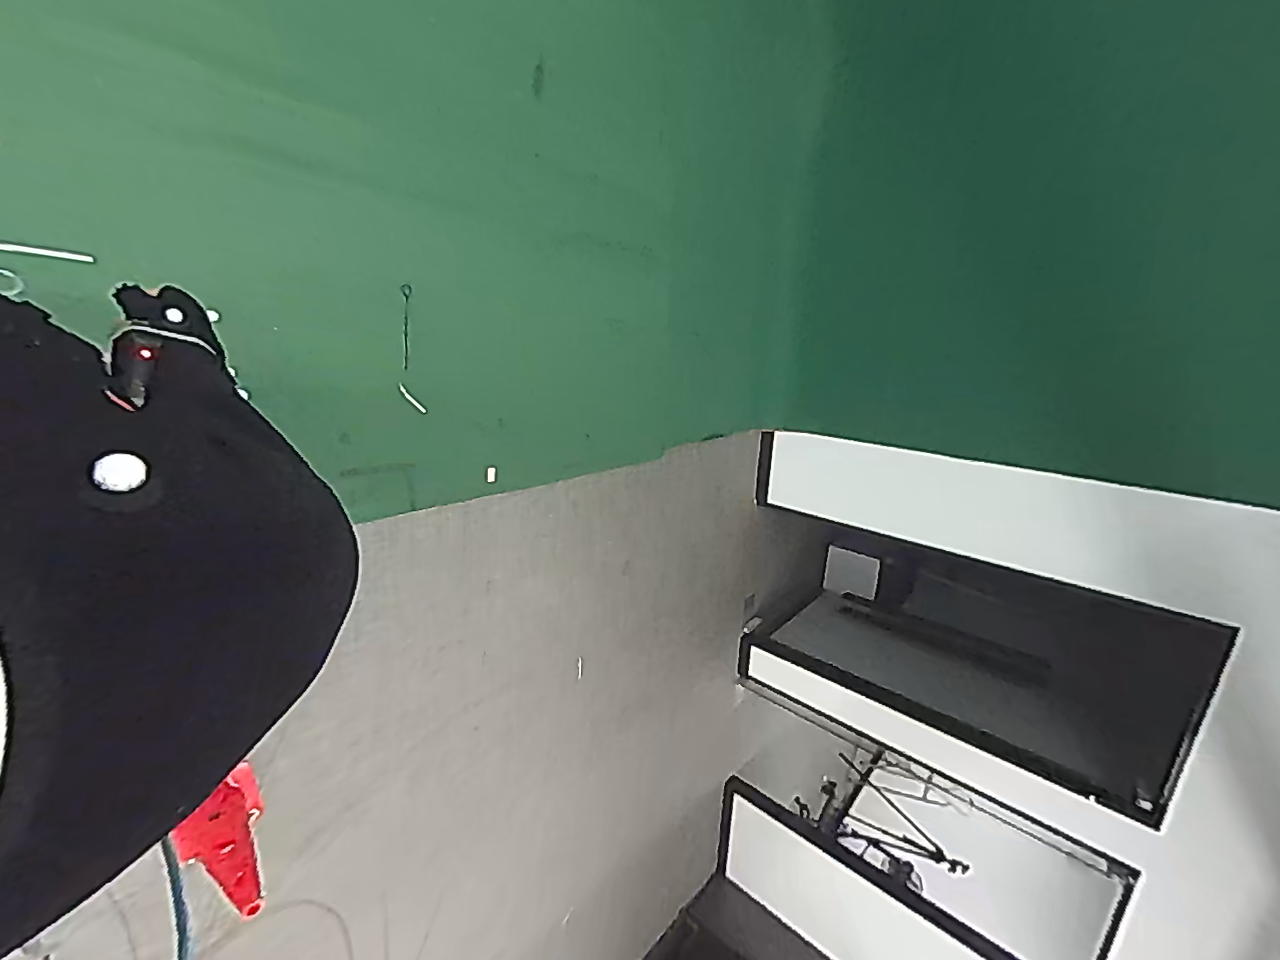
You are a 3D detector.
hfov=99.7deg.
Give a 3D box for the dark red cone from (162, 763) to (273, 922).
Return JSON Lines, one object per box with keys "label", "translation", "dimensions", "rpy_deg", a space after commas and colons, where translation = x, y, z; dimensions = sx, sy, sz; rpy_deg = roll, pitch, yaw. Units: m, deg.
{"label": "dark red cone", "translation": [-0.946, 0.878, 1.272], "dimensions": [0.202, 0.394, 0.201], "rpy_deg": [-22, 118, -44]}
